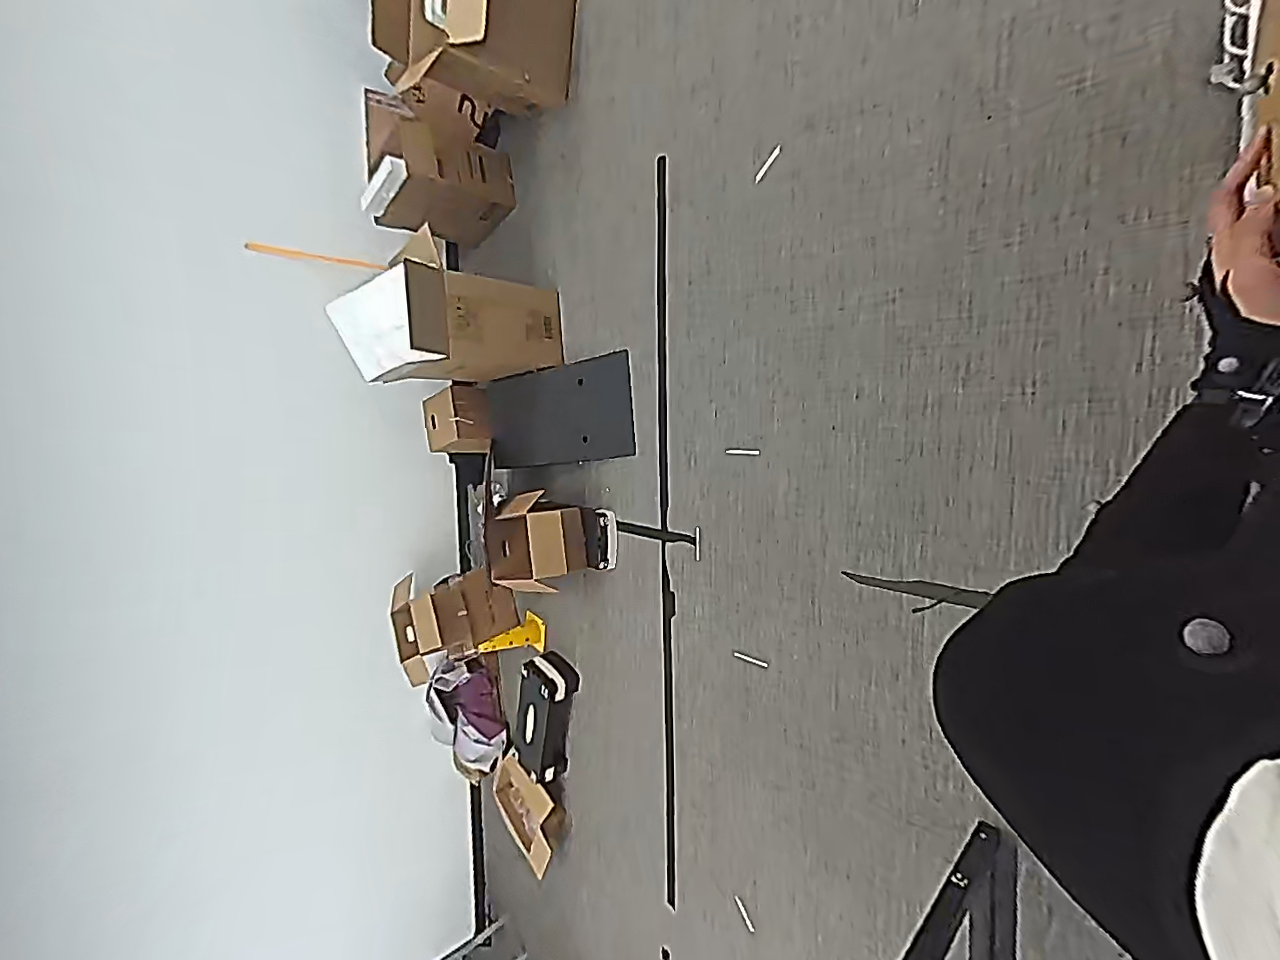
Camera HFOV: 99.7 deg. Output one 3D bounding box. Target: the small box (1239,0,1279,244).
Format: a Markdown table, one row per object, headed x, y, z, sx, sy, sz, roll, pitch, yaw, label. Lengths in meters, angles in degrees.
| x | y | z | sx | sy | sz | roll | pitch | yaw | label |
| --- | --- | --- | --- | --- | --- | --- | --- | --- | --- |
| 0.508 | -0.273 | 0.338 | 0.168 | 0.176 | 0.179 | -2 | 79 | 43 | small box |
